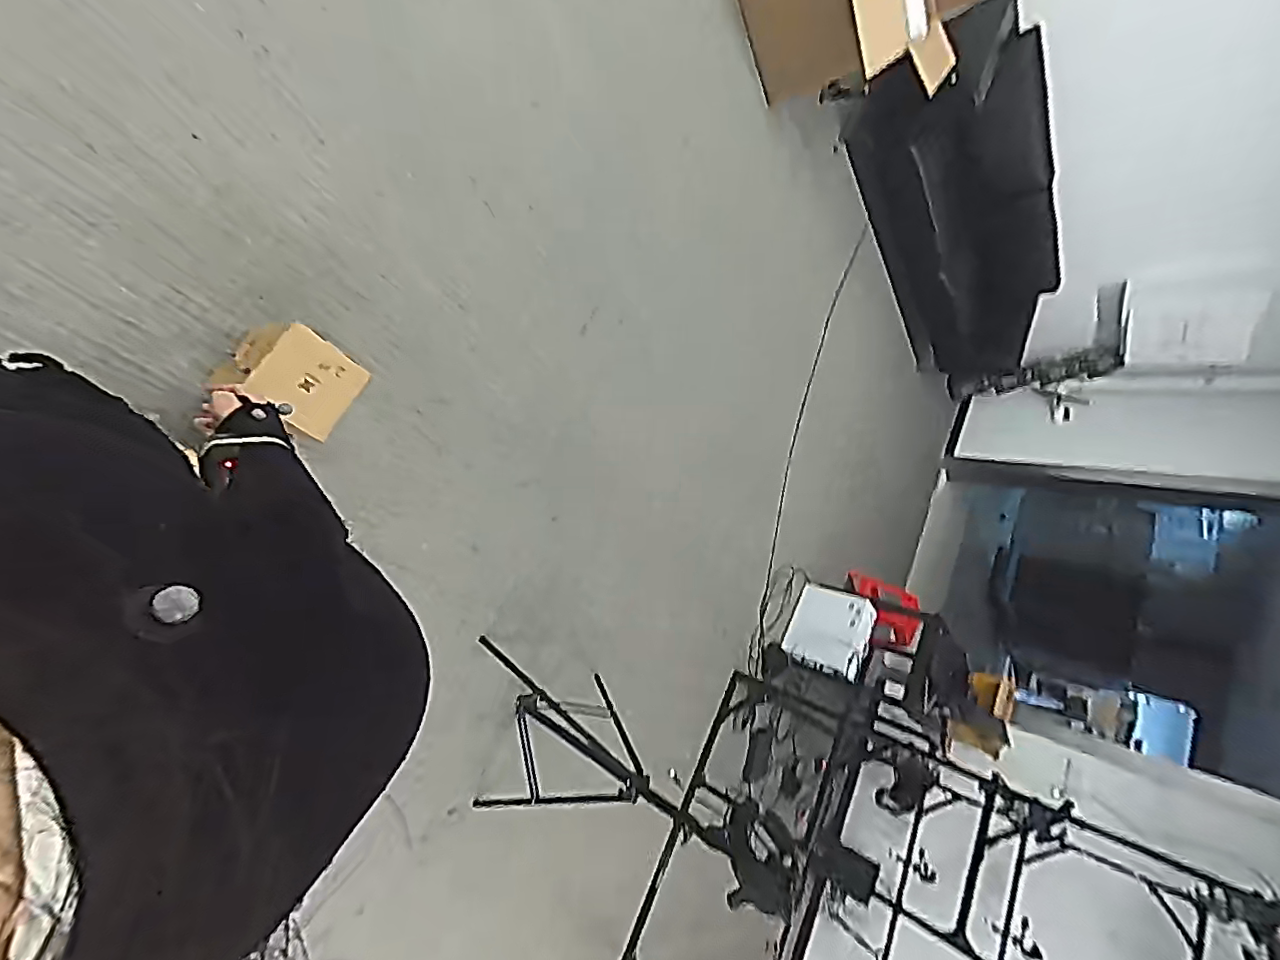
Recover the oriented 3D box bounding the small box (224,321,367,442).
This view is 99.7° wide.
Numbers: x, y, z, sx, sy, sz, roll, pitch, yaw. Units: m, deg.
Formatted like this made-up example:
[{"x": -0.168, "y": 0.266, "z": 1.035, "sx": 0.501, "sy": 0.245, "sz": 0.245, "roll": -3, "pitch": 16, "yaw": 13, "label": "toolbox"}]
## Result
[{"x": -0.704, "y": -0.198, "z": 1.101, "sx": 0.168, "sy": 0.176, "sz": 0.179, "roll": 45, "pitch": 64, "yaw": -42, "label": "small box"}]
